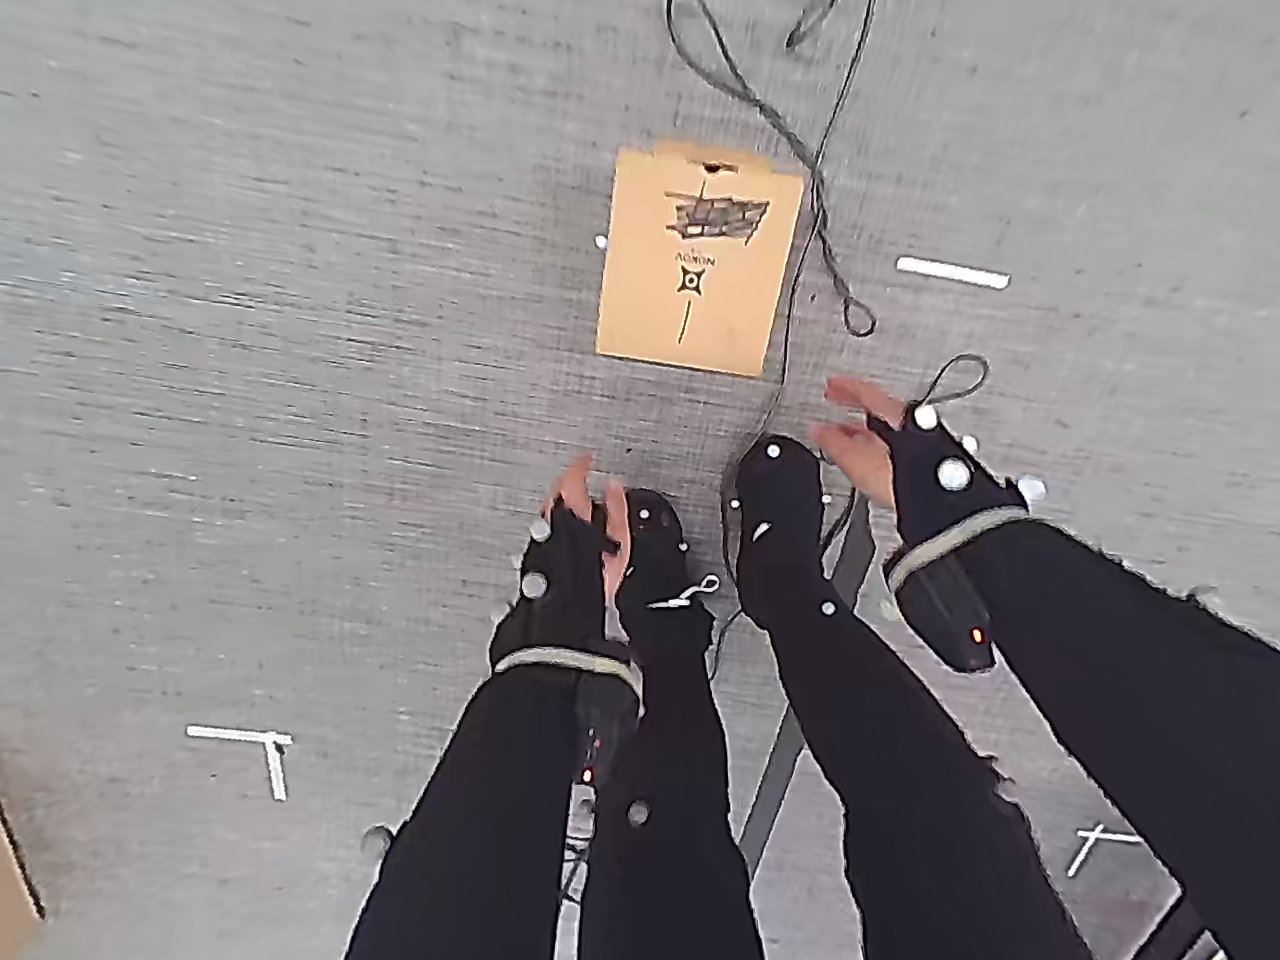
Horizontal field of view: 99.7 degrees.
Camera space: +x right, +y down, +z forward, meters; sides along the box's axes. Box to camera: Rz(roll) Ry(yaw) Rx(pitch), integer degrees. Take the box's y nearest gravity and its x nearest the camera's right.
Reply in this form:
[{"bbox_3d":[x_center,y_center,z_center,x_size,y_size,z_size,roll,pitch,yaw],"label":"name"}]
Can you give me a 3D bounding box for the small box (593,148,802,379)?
[{"bbox_3d":[0.048,-0.219,0.566,0.168,0.176,0.179,8,112,-3],"label":"small box"}]
